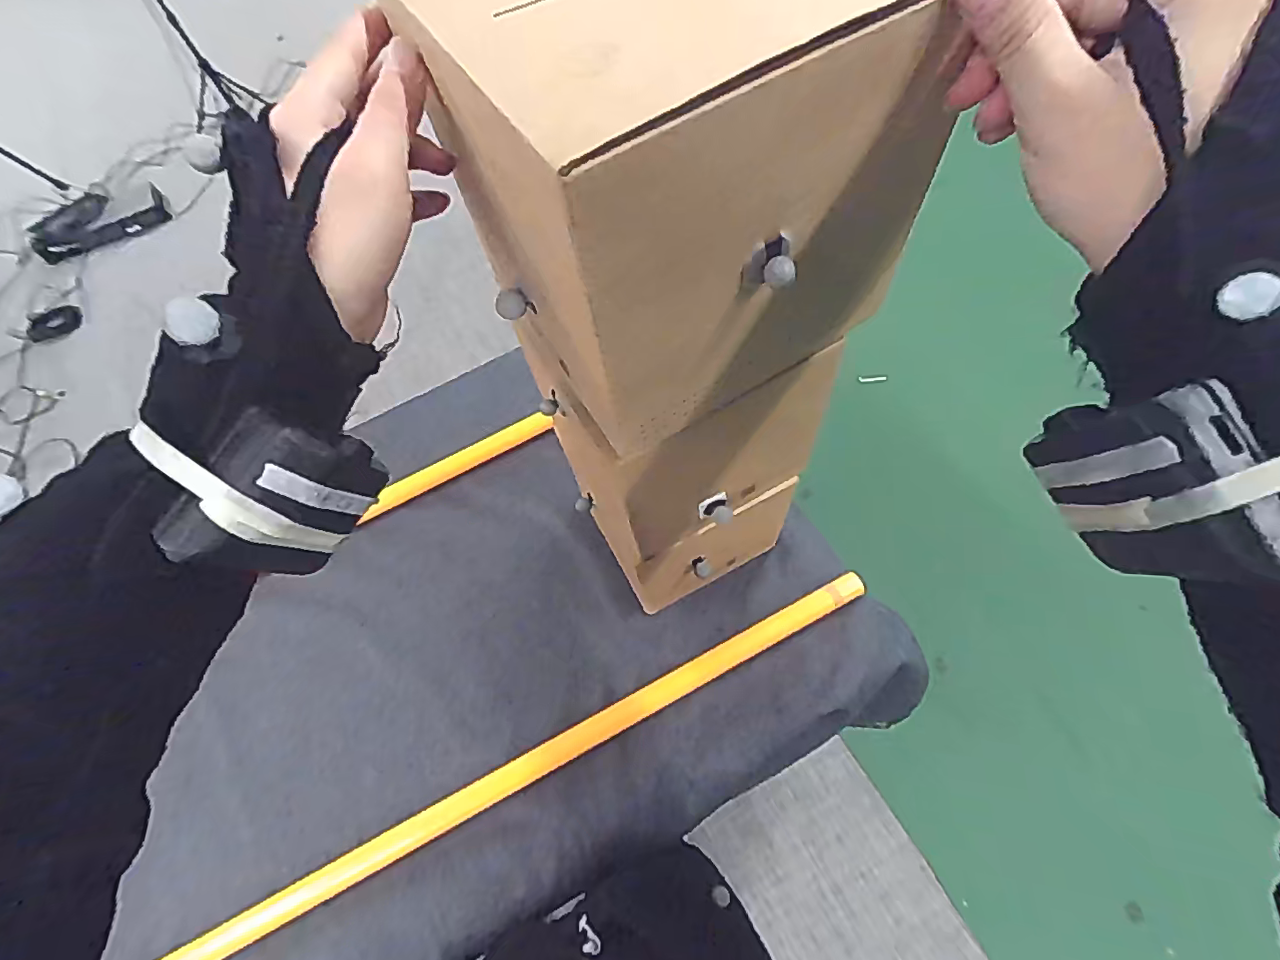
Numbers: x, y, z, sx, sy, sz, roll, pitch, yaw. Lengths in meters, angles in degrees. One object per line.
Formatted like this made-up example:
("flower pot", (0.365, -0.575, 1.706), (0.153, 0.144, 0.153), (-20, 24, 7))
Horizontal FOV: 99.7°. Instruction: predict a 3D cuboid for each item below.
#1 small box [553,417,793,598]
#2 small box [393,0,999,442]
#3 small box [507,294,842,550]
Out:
("small box", (0.034, 0.006, 0.567), (0.168, 0.176, 0.179), (-28, 62, -8))
("small box", (0.015, -0.152, 0.266), (0.179, 0.176, 0.168), (-31, 64, -9))
("small box", (0.021, -0.075, 0.426), (0.168, 0.176, 0.179), (-30, 63, -8))
